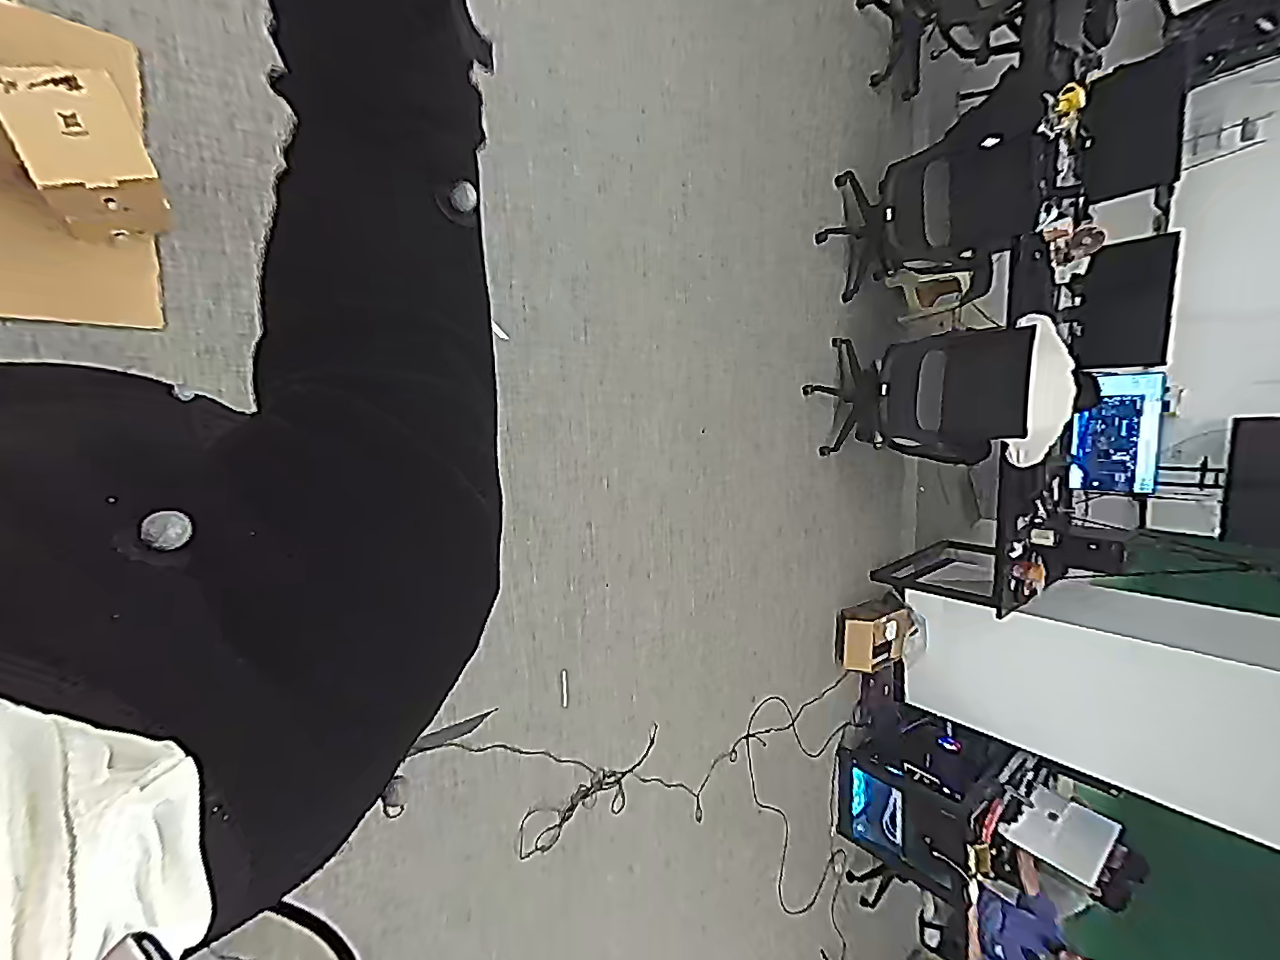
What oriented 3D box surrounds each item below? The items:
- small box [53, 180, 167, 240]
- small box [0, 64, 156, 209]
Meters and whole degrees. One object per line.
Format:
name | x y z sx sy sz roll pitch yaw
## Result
small box | -1.096 -0.608 1.086 0.168 0.176 0.179 -30 112 -33
small box | -0.998 -0.595 0.956 0.168 0.176 0.179 -27 111 -34
